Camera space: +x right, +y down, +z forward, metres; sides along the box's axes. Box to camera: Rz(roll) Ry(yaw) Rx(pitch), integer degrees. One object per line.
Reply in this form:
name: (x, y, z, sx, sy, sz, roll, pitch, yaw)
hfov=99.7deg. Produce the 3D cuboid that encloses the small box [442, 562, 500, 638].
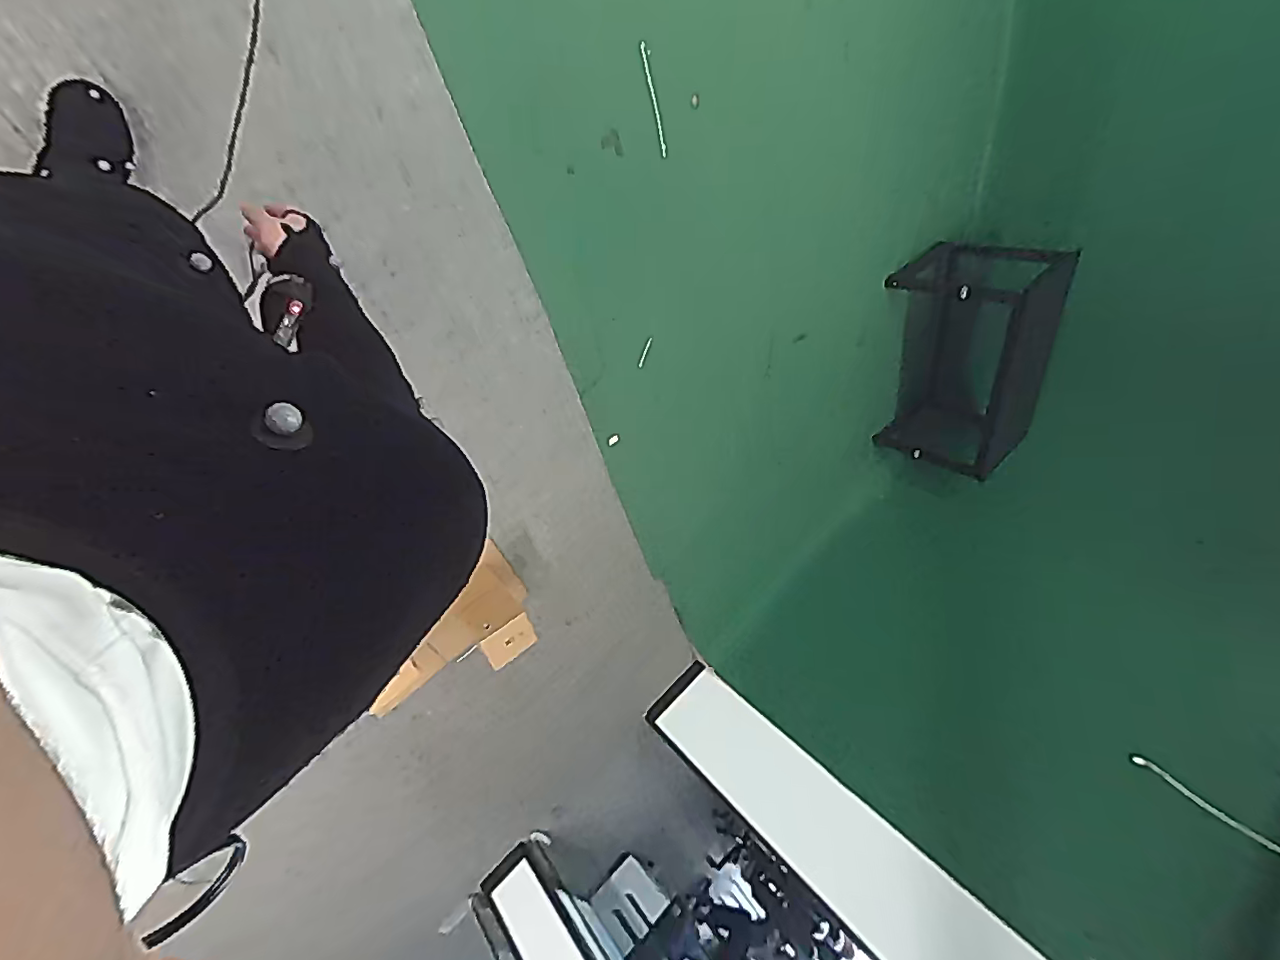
small box: (-0.606, 0.438, 1.990, 0.179, 0.176, 0.168, -32, 133, -26)

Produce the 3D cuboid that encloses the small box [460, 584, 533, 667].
small box: (-0.504, 0.500, 1.875, 0.179, 0.176, 0.168, -33, 133, -26)
